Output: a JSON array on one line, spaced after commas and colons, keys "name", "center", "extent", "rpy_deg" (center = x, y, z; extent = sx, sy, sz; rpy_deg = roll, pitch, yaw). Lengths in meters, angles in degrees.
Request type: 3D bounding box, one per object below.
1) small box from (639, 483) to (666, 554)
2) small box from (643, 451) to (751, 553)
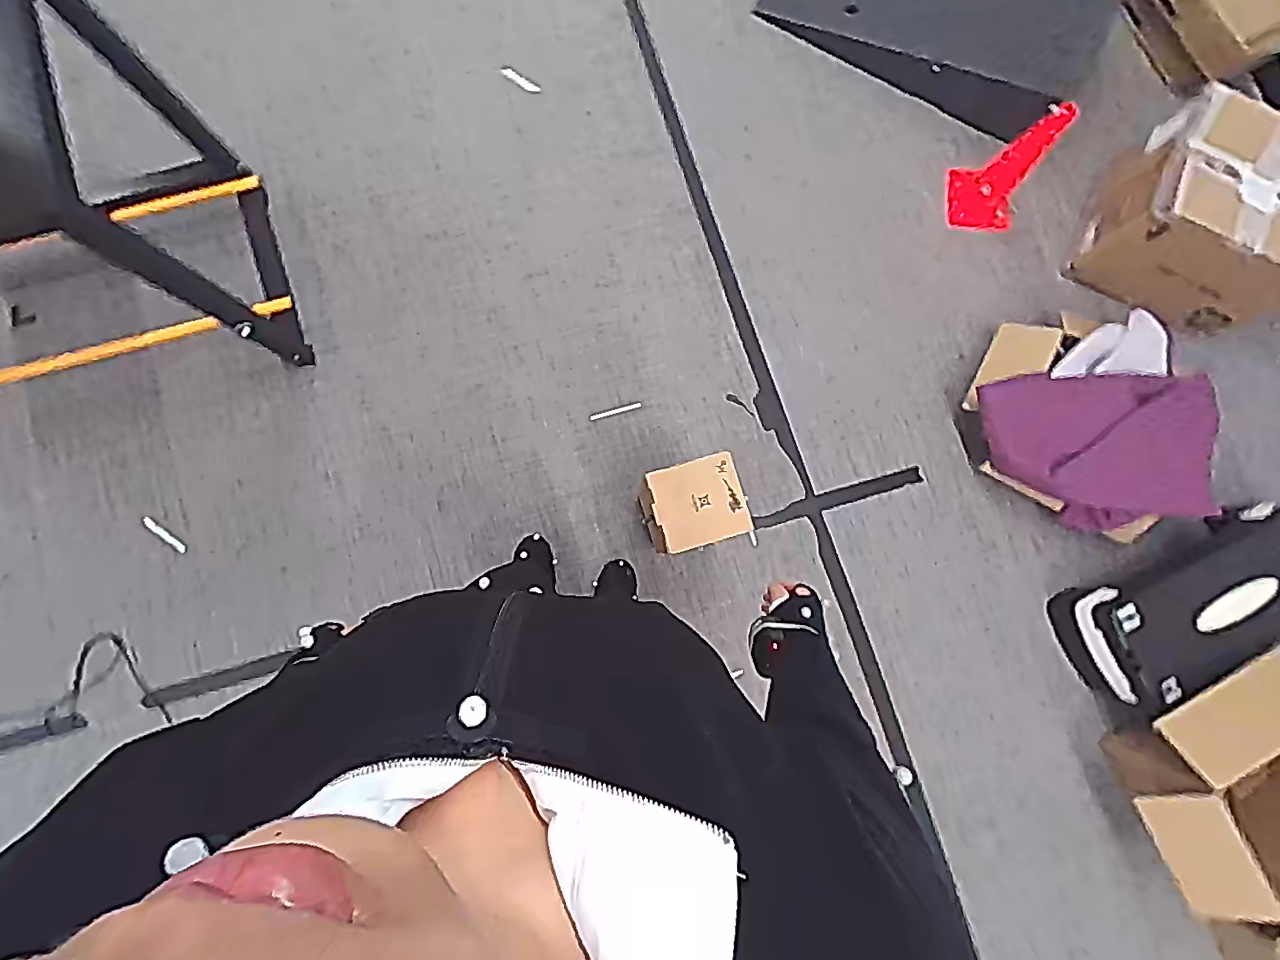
[{"name": "small box", "center": [0.104, 0.073, 1.286], "extent": [0.179, 0.176, 0.168], "rpy_deg": [-16, 83, -4]}, {"name": "small box", "center": [0.110, 0.053, 1.123], "extent": [0.179, 0.176, 0.168], "rpy_deg": [-16, 84, -4]}]
